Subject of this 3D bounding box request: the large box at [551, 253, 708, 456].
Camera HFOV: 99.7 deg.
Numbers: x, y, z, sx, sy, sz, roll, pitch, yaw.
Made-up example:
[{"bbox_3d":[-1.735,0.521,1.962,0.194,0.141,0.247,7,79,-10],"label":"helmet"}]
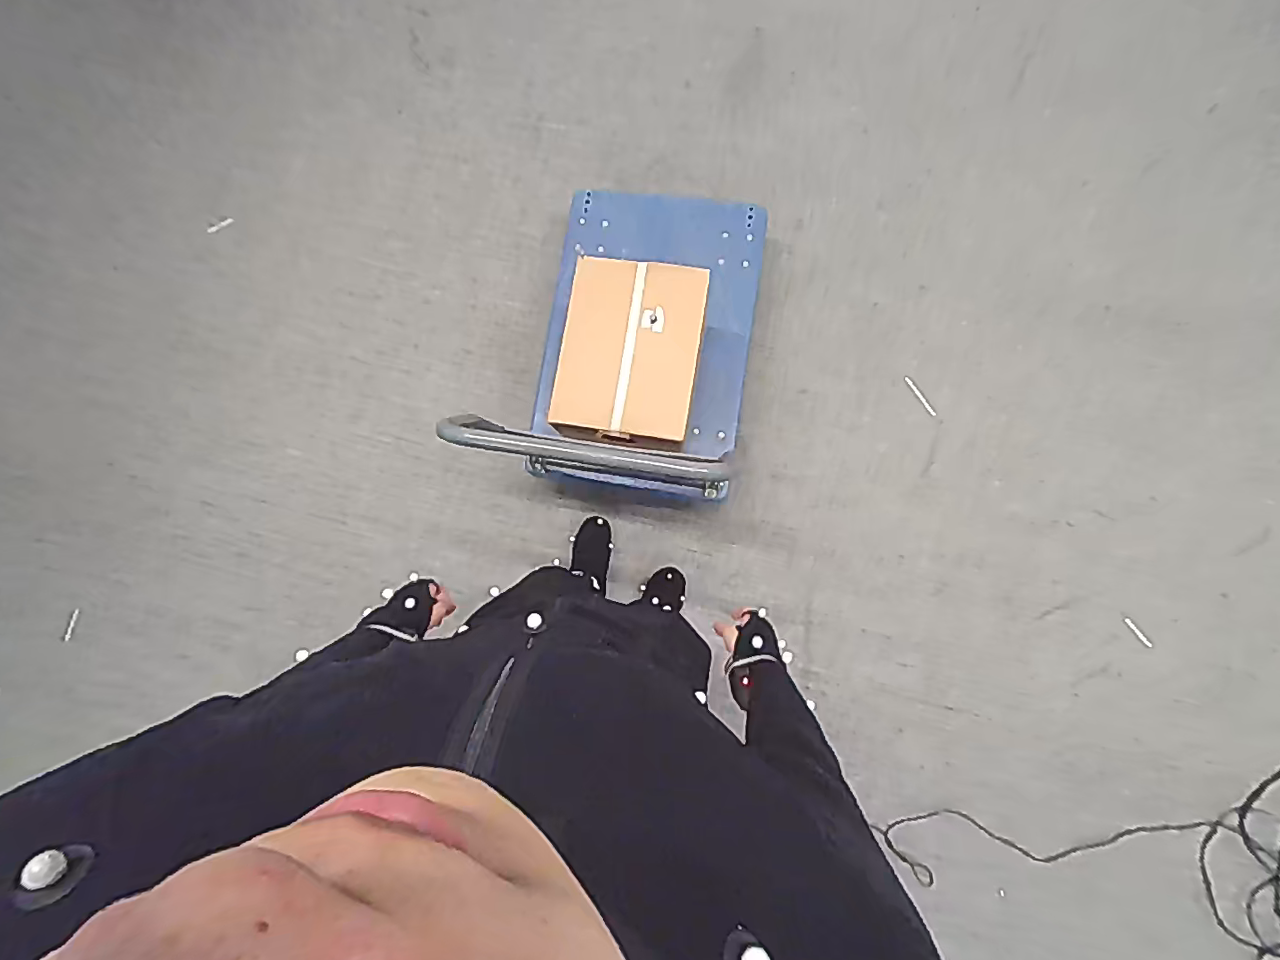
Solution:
[{"bbox_3d":[-0.009,-0.293,1.364,0.320,0.320,0.408,9,84,5],"label":"large box"}]
